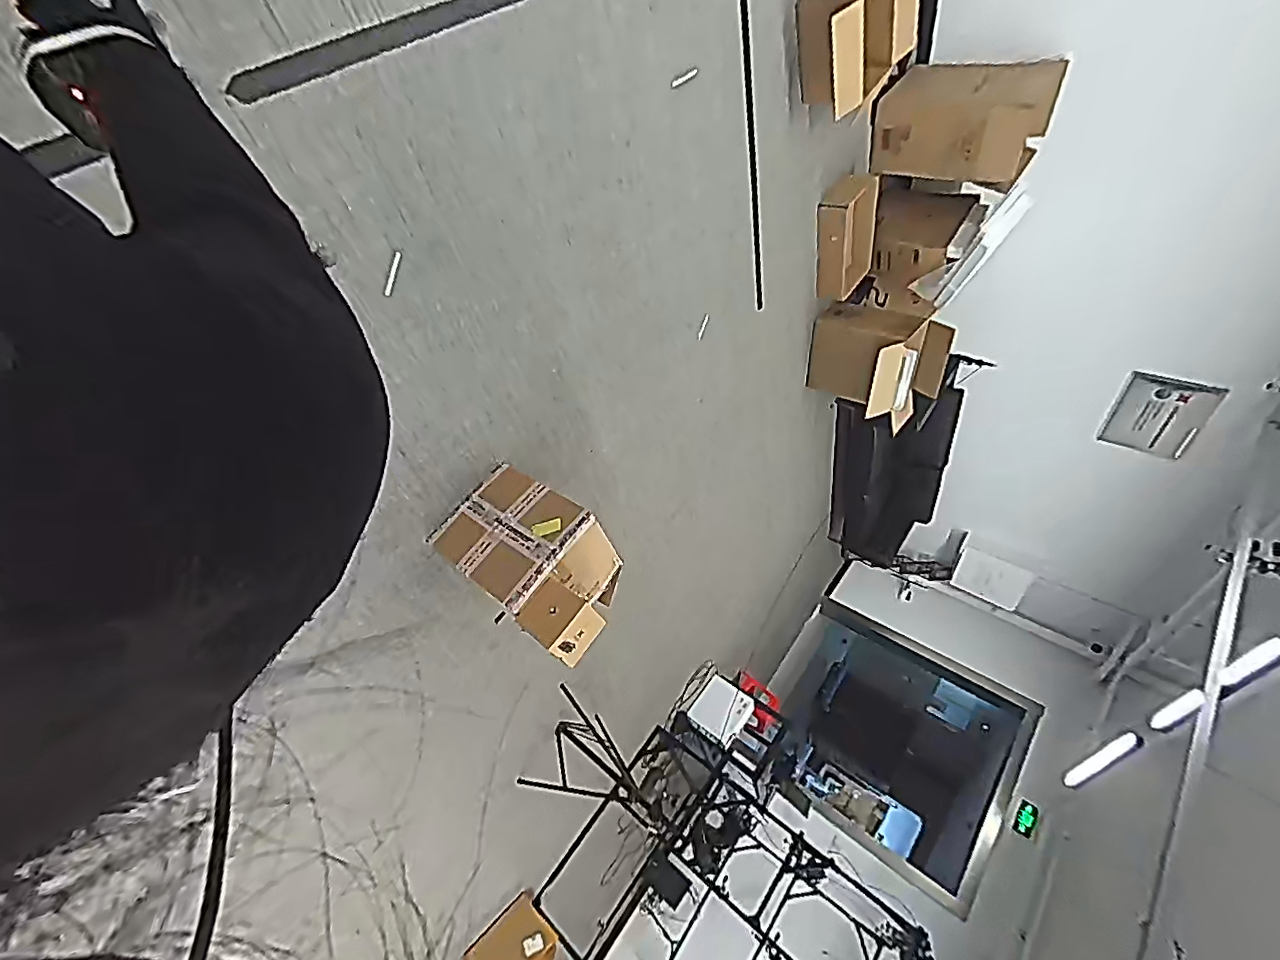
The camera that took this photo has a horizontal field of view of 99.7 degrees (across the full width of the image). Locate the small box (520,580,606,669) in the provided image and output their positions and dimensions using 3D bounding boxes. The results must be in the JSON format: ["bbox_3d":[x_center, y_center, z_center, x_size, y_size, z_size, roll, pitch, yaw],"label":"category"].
[{"bbox_3d":[-0.244,0.442,1.665,0.179,0.176,0.168,-51,142,-19],"label":"small box"}]
